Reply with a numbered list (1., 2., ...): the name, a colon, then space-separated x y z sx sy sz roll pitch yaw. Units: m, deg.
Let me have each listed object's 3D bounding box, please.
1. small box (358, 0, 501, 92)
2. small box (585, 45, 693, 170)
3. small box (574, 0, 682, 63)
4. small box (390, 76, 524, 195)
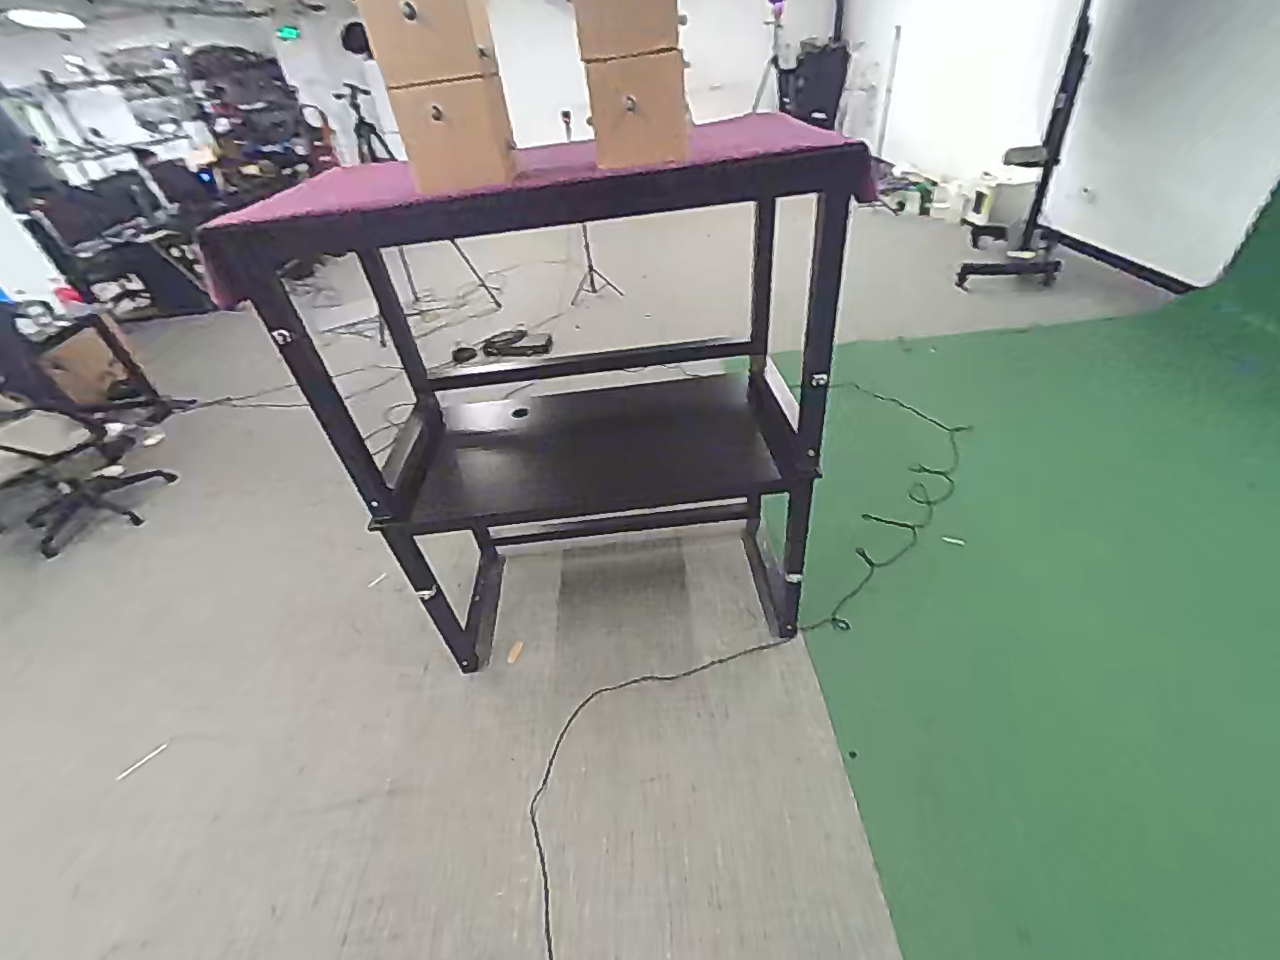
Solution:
1. small box: -0.359 -0.791 0.941 0.179 0.176 0.168 -7 38 5
2. small box: 0.003 -0.709 1.034 0.179 0.176 0.168 -6 39 6
3. small box: -0.022 -0.836 0.934 0.179 0.176 0.168 -4 39 6
4. small box: -0.339 -0.663 1.043 0.179 0.176 0.168 -6 39 4
